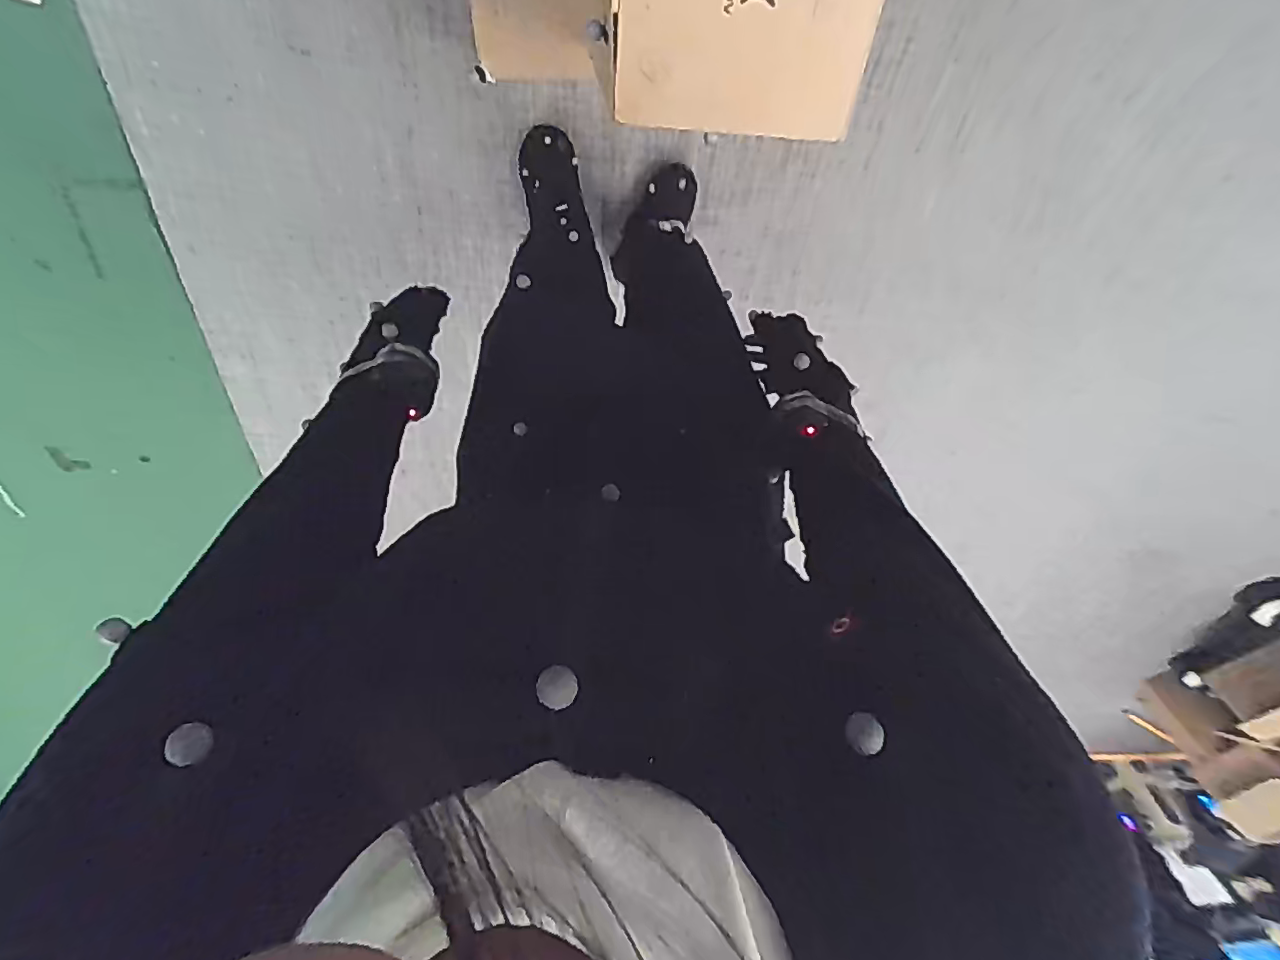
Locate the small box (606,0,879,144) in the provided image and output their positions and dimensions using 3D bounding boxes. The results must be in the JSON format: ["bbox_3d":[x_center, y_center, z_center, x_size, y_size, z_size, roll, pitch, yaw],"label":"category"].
[{"bbox_3d":[0.066,-0.371,0.409,0.179,0.176,0.168,-1,132,-7],"label":"small box"}]
